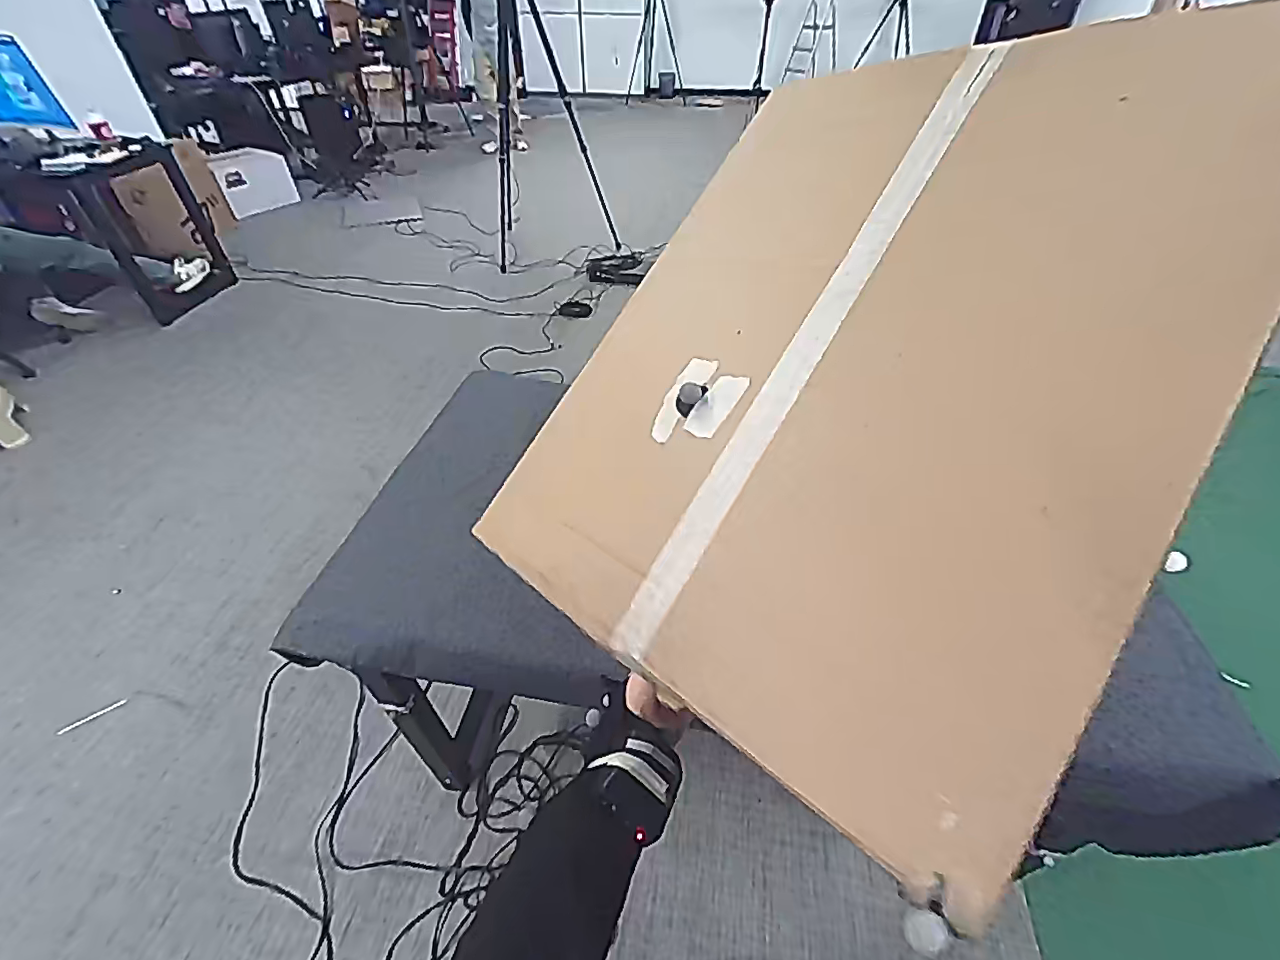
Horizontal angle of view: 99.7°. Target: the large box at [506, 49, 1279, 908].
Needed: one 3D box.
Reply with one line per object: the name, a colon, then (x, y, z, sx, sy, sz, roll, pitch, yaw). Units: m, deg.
large box: (0.185, -0.012, 0.417, 0.320, 0.320, 0.408, 25, 81, 40)
